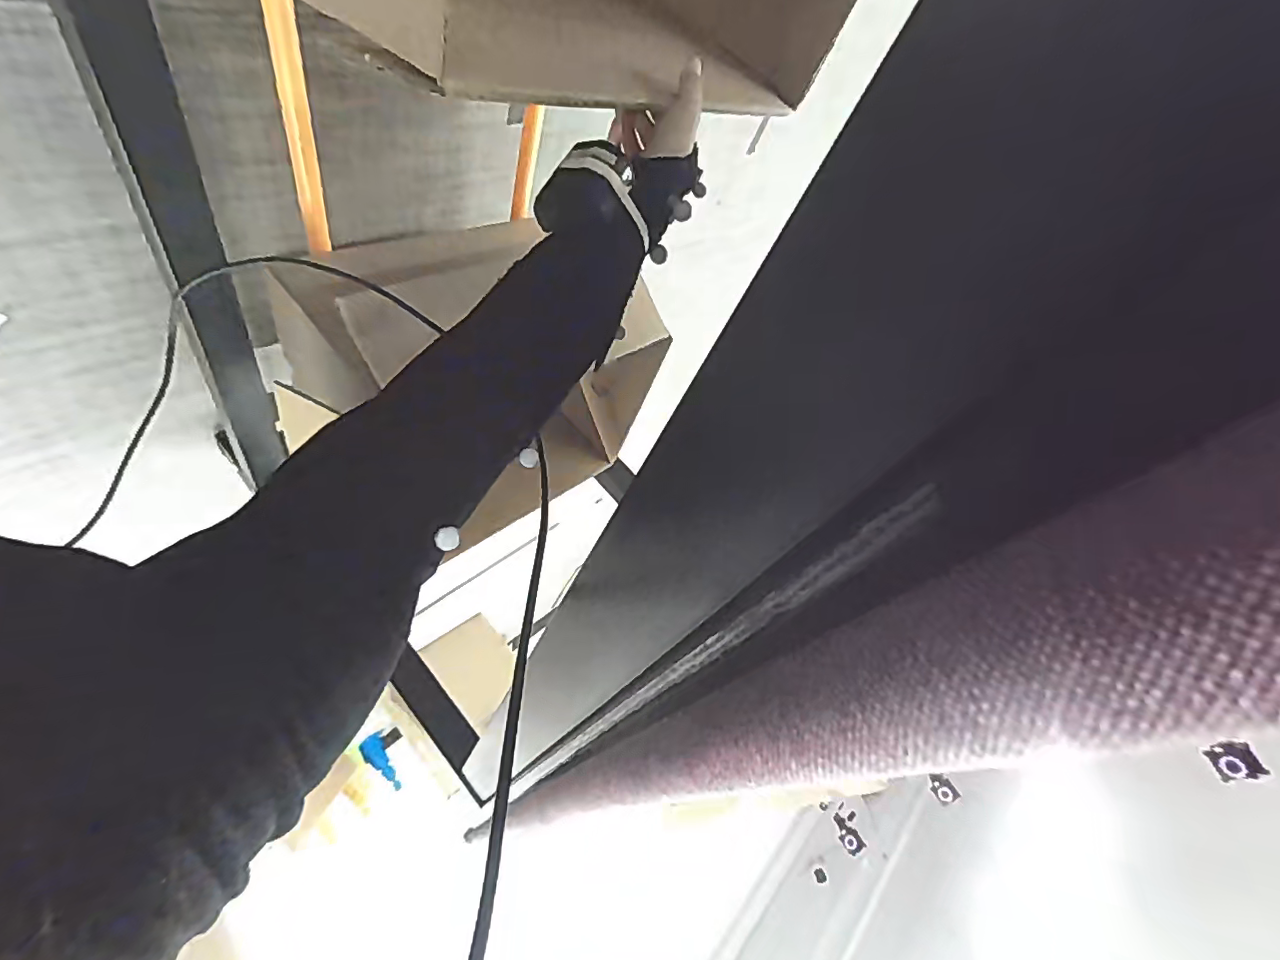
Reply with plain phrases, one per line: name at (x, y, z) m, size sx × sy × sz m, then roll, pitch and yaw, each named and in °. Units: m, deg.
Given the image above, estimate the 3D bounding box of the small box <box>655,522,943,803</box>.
small box at (0.148, 0.170, 0.530) m, size 0.179 × 0.176 × 0.168 m, roll -33°, pitch 163°, yaw -40°

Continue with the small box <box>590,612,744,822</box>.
small box at (0.059, 0.304, 0.709) m, size 0.168 × 0.176 × 0.179 m, roll -33°, pitch 164°, yaw -42°
